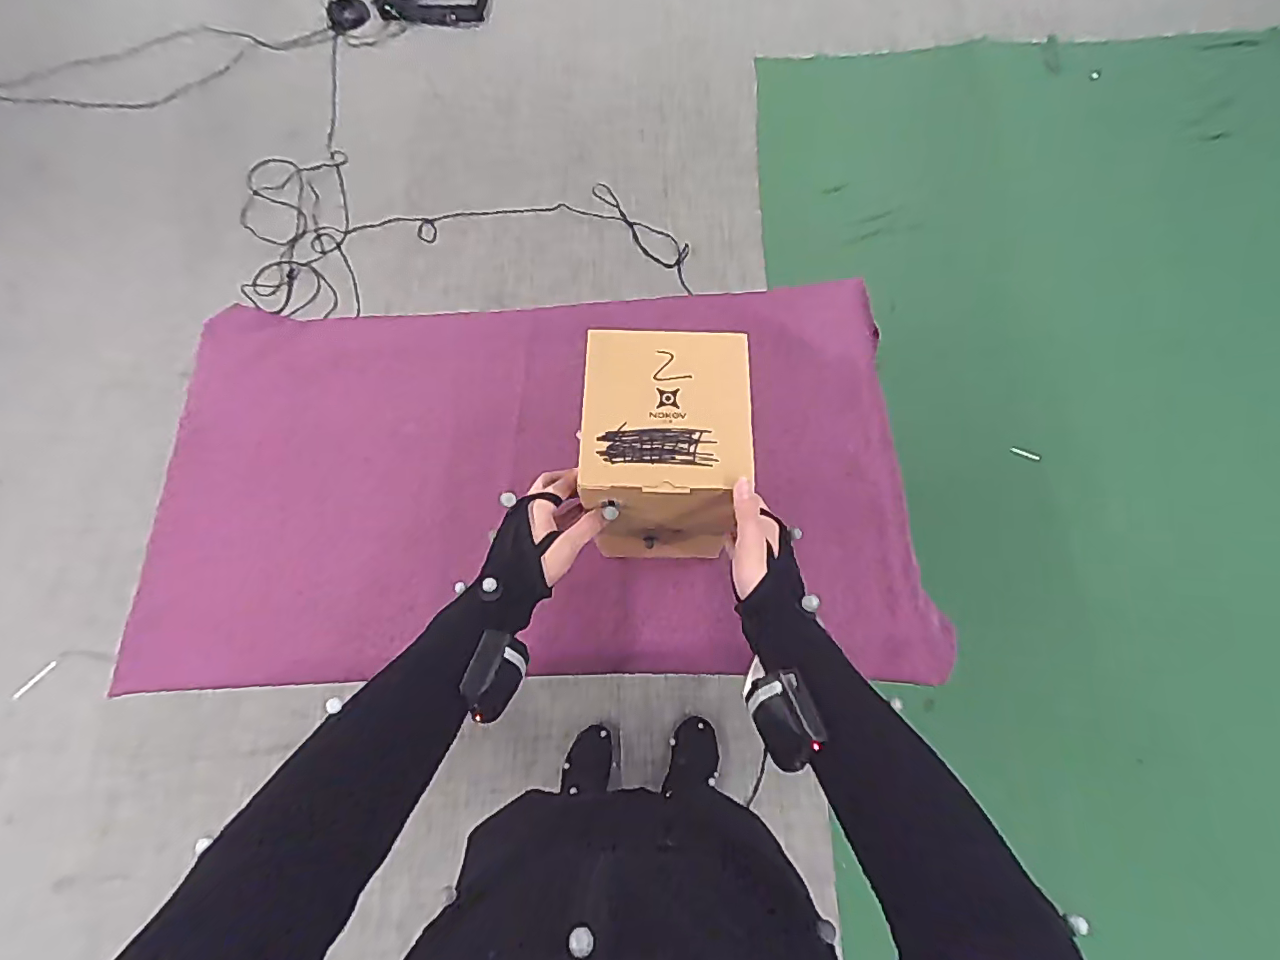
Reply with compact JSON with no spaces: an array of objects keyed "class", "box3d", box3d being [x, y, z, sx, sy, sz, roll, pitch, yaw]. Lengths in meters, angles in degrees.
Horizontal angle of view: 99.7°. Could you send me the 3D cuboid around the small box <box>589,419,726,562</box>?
[{"class":"small box","box3d":[0.029,0.022,0.780,0.179,0.176,0.168,0,70,3]}]
